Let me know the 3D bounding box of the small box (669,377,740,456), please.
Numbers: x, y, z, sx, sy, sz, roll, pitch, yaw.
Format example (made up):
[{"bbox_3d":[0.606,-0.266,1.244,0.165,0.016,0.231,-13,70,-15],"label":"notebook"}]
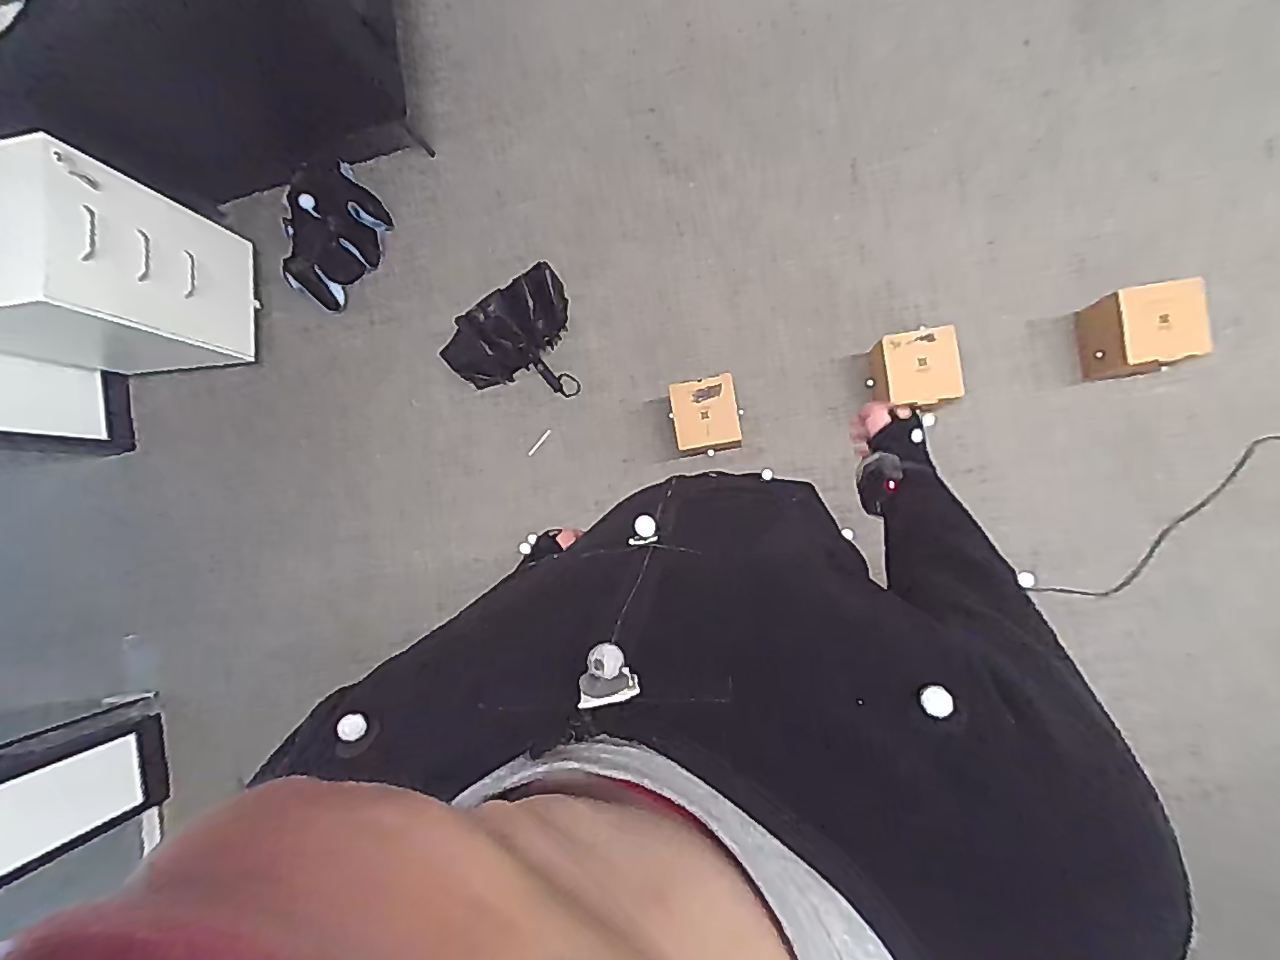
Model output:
[{"bbox_3d":[0.179,-0.168,1.481,0.168,0.176,0.179,-9,87,11],"label":"small box"}]

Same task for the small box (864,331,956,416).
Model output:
[{"bbox_3d":[0.684,-0.262,1.386,0.168,0.176,0.179,-6,87,11],"label":"small box"}]

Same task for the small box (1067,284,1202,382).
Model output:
[{"bbox_3d":[1.170,-0.340,1.293,0.168,0.176,0.179,-7,86,10],"label":"small box"}]
